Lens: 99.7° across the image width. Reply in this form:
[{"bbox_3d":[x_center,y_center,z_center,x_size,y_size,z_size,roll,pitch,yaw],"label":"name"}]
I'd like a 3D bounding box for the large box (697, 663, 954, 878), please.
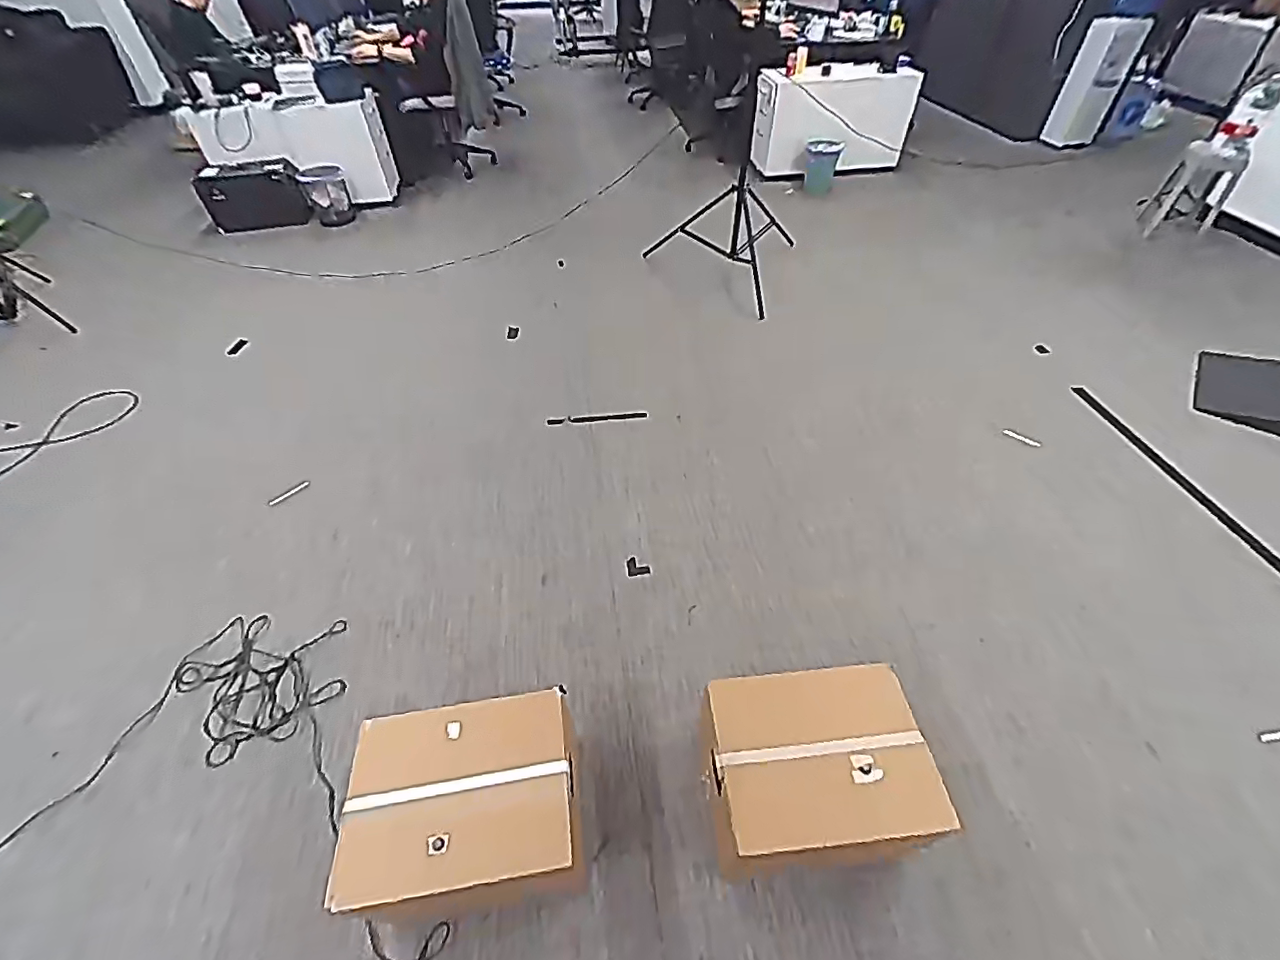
[{"bbox_3d":[0.355,0.626,1.165,0.408,0.320,0.320,-4,47,-4],"label":"large box"}]
